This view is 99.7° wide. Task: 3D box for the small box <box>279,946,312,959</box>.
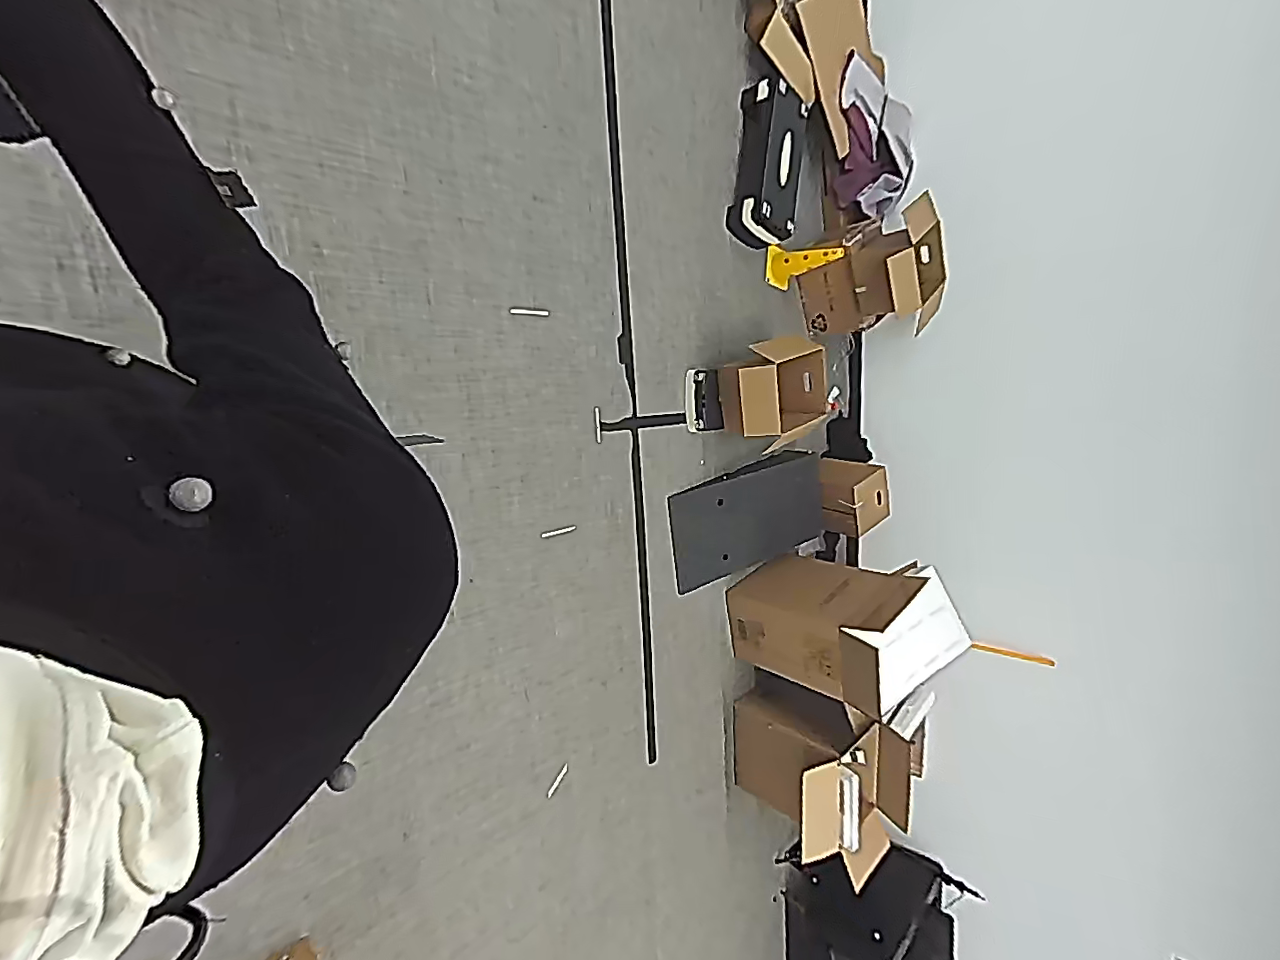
[{"bbox_3d":[-0.957,1.429,1.451,0.168,0.176,0.179,-9,101,-44],"label":"small box"}]
